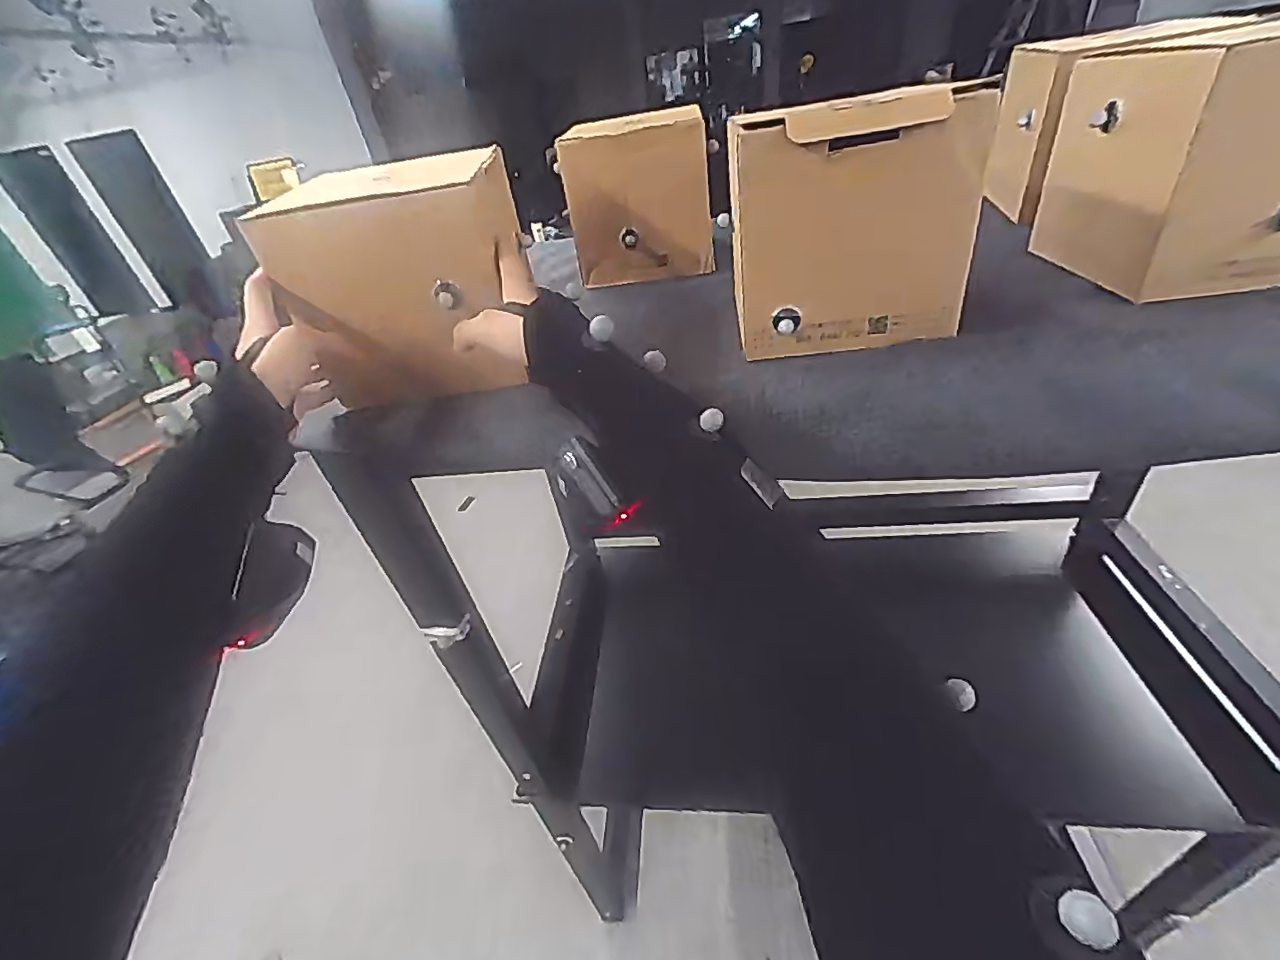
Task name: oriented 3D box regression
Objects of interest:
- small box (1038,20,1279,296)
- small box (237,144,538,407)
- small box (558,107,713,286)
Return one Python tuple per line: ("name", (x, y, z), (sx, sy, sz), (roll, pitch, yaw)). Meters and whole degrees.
("small box", (0.470, -0.263, 0.441), (0.168, 0.176, 0.179), (-4, 36, 9))
("small box", (-0.199, -0.186, 0.495), (0.179, 0.176, 0.168), (-8, 40, 1))
("small box", (0.005, -0.365, 0.698), (0.168, 0.176, 0.179), (-5, 38, 8))
